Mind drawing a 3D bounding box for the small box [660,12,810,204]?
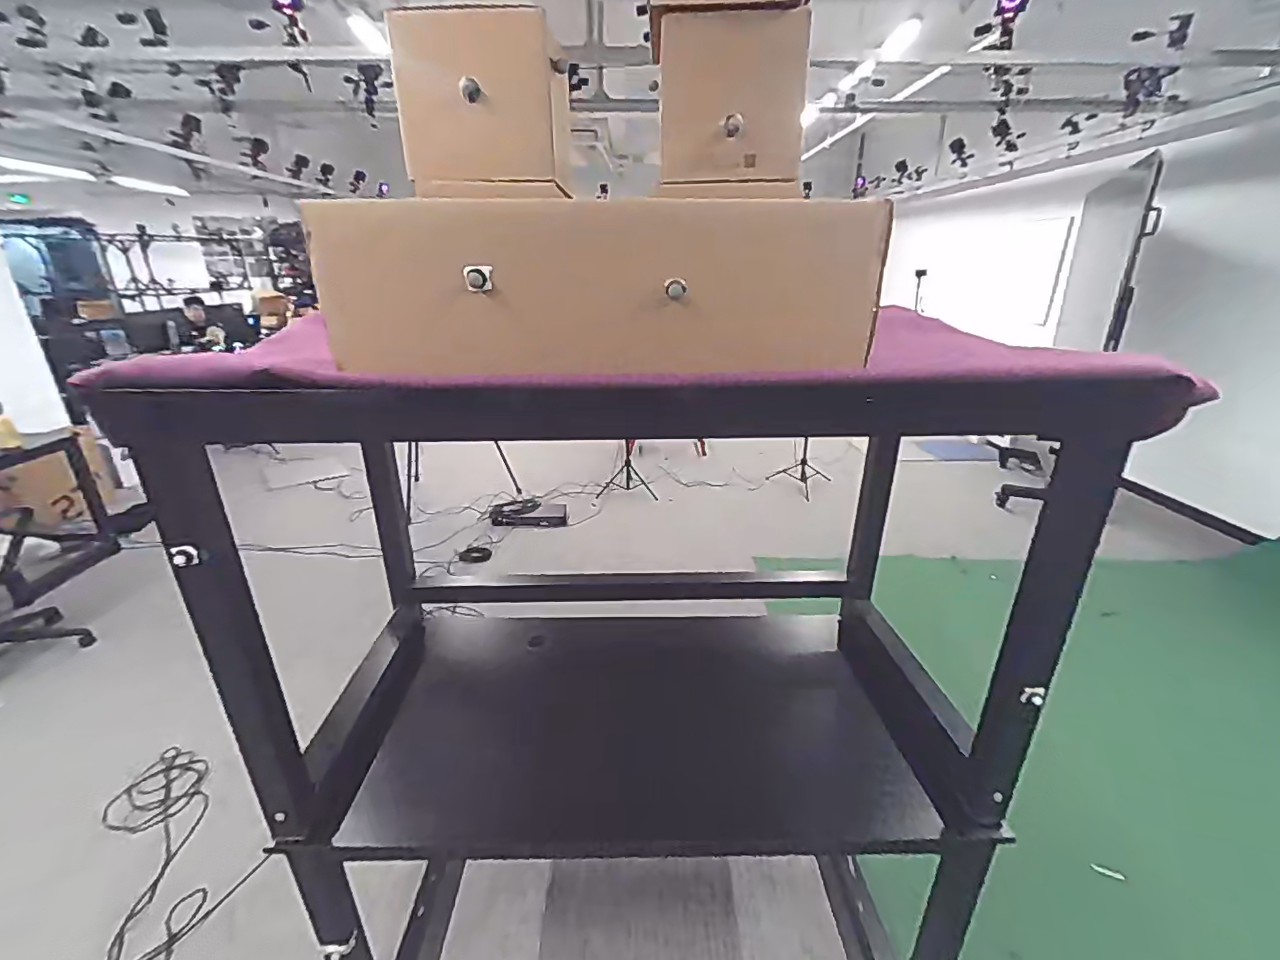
[{"bbox_3d":[0.109,-0.458,0.695,0.168,0.176,0.179,-1,21,2],"label":"small box"}]

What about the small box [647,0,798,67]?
[{"bbox_3d":[0.092,-0.608,0.633,0.168,0.176,0.179,0,21,3],"label":"small box"}]
